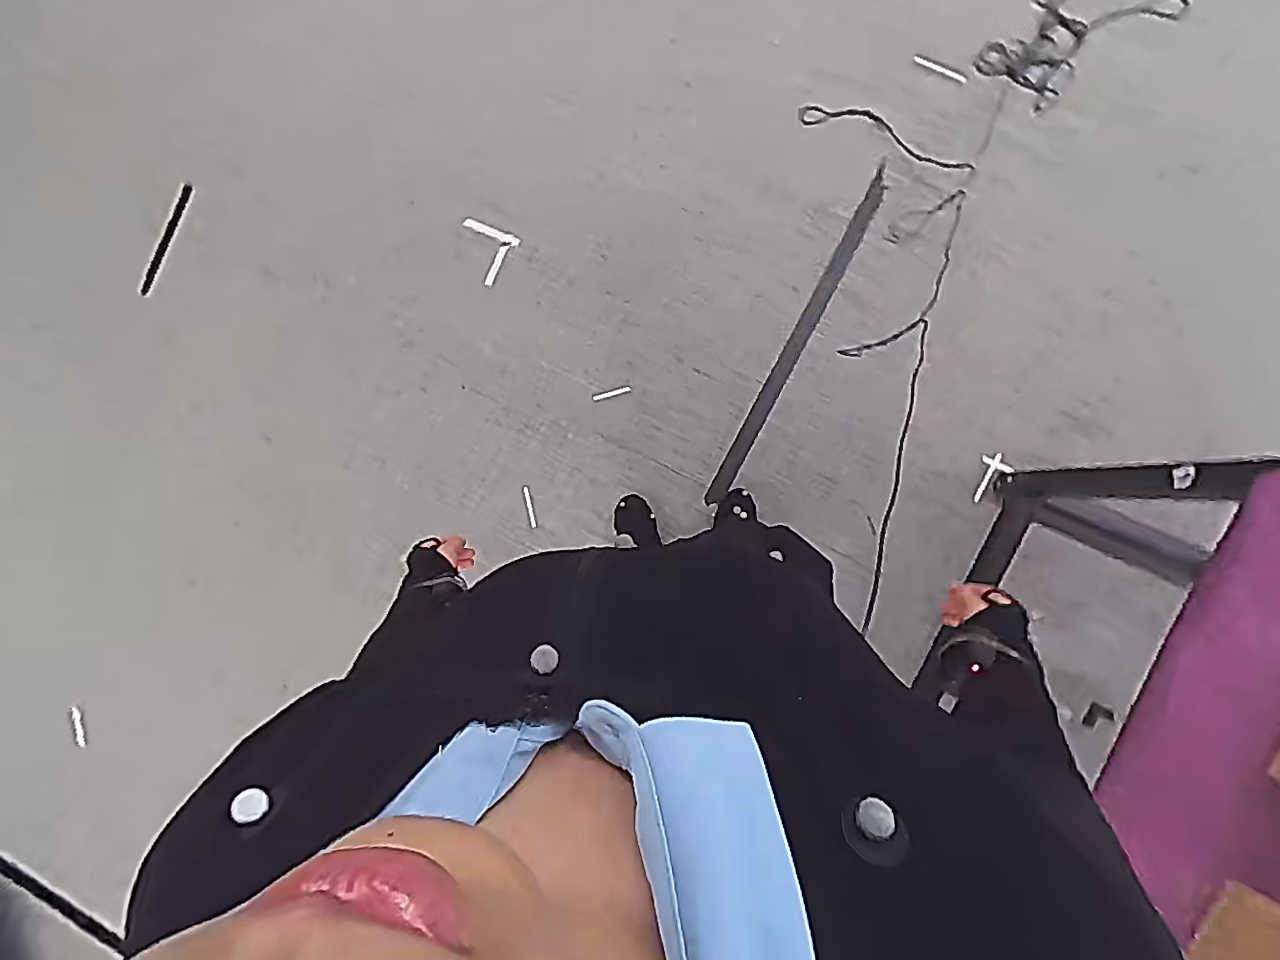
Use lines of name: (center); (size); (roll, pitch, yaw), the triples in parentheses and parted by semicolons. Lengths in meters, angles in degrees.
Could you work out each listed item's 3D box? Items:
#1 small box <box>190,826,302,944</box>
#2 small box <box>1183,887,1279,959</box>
small box: (-1.096, 1.126, 1.520); (0.168, 0.176, 0.179); (20, 92, 5)
small box: (0.777, 0.619, 0.605); (0.168, 0.176, 0.179); (29, 92, 5)
